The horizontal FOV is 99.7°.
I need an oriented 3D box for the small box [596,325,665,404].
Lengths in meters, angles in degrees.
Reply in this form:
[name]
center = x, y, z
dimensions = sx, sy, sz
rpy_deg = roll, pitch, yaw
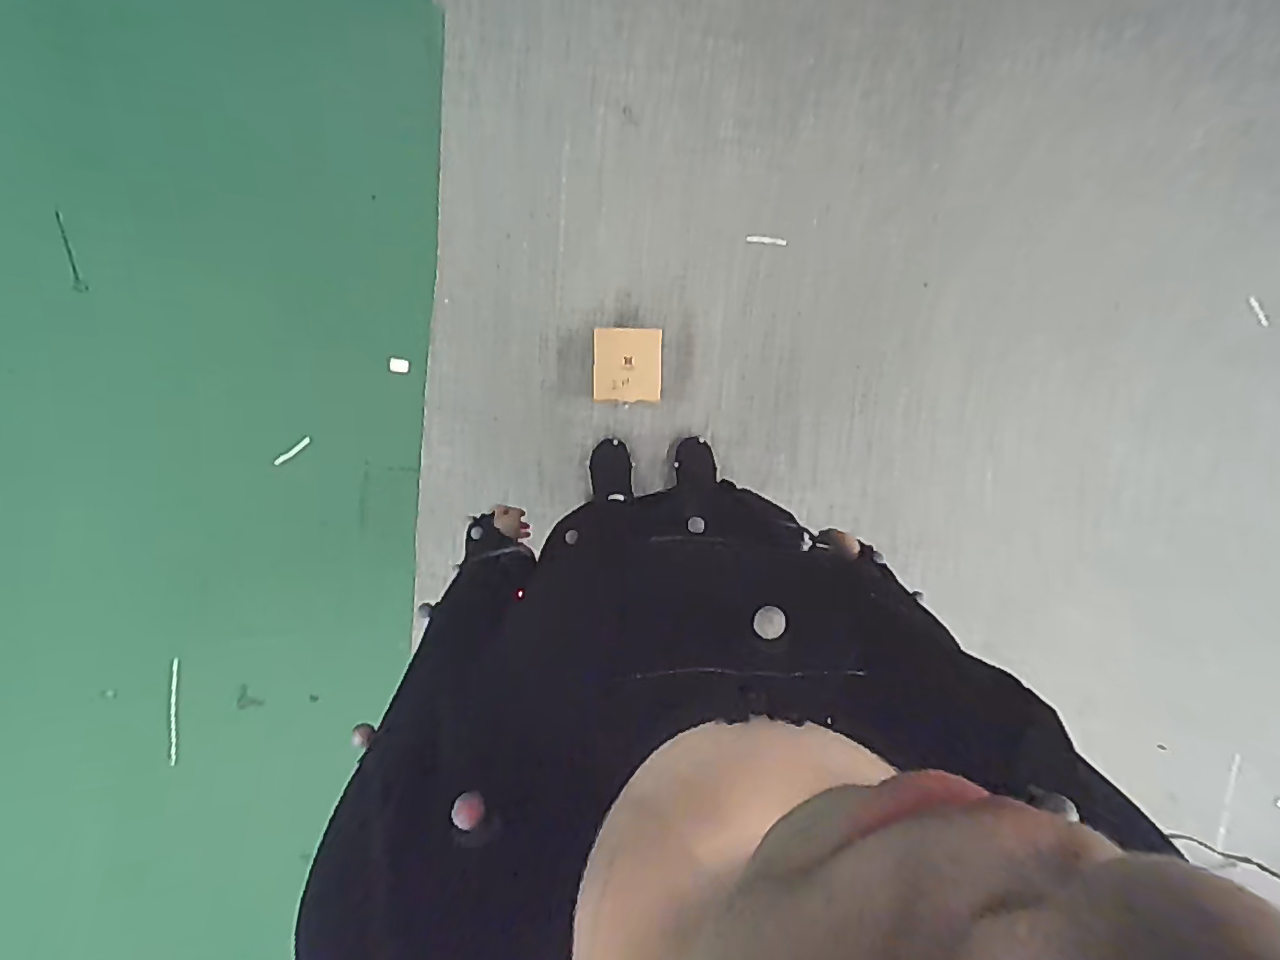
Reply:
[small box]
center = -0.027, -0.288, 1.376
dimensions = 0.168, 0.176, 0.179
rpy_deg = 1, 95, -2
